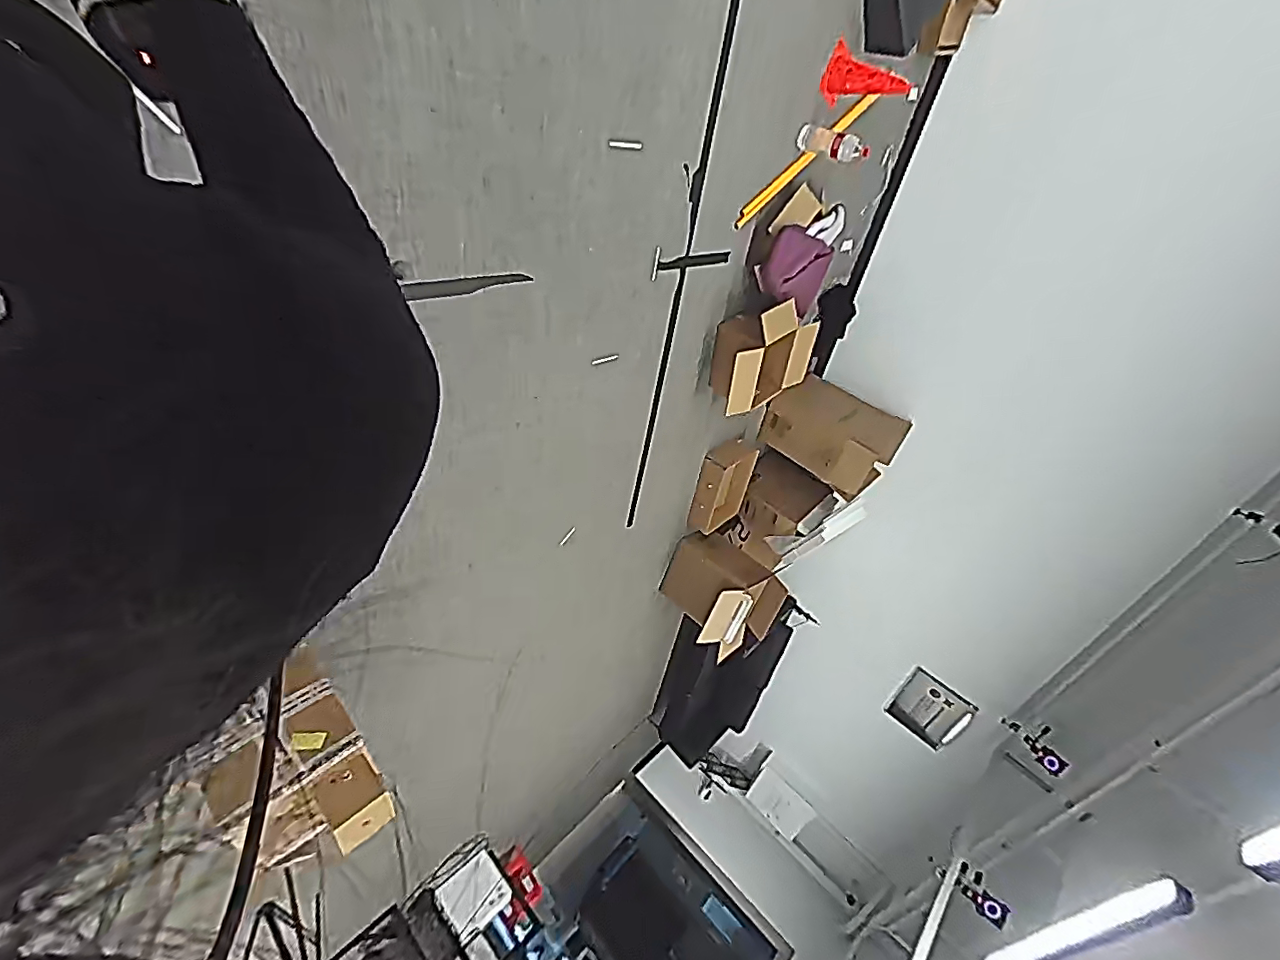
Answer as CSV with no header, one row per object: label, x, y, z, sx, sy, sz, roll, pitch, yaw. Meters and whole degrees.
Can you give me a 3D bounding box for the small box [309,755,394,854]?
small box,-0.899,1.004,1.686,0.168,0.176,0.179,-29,139,-40
